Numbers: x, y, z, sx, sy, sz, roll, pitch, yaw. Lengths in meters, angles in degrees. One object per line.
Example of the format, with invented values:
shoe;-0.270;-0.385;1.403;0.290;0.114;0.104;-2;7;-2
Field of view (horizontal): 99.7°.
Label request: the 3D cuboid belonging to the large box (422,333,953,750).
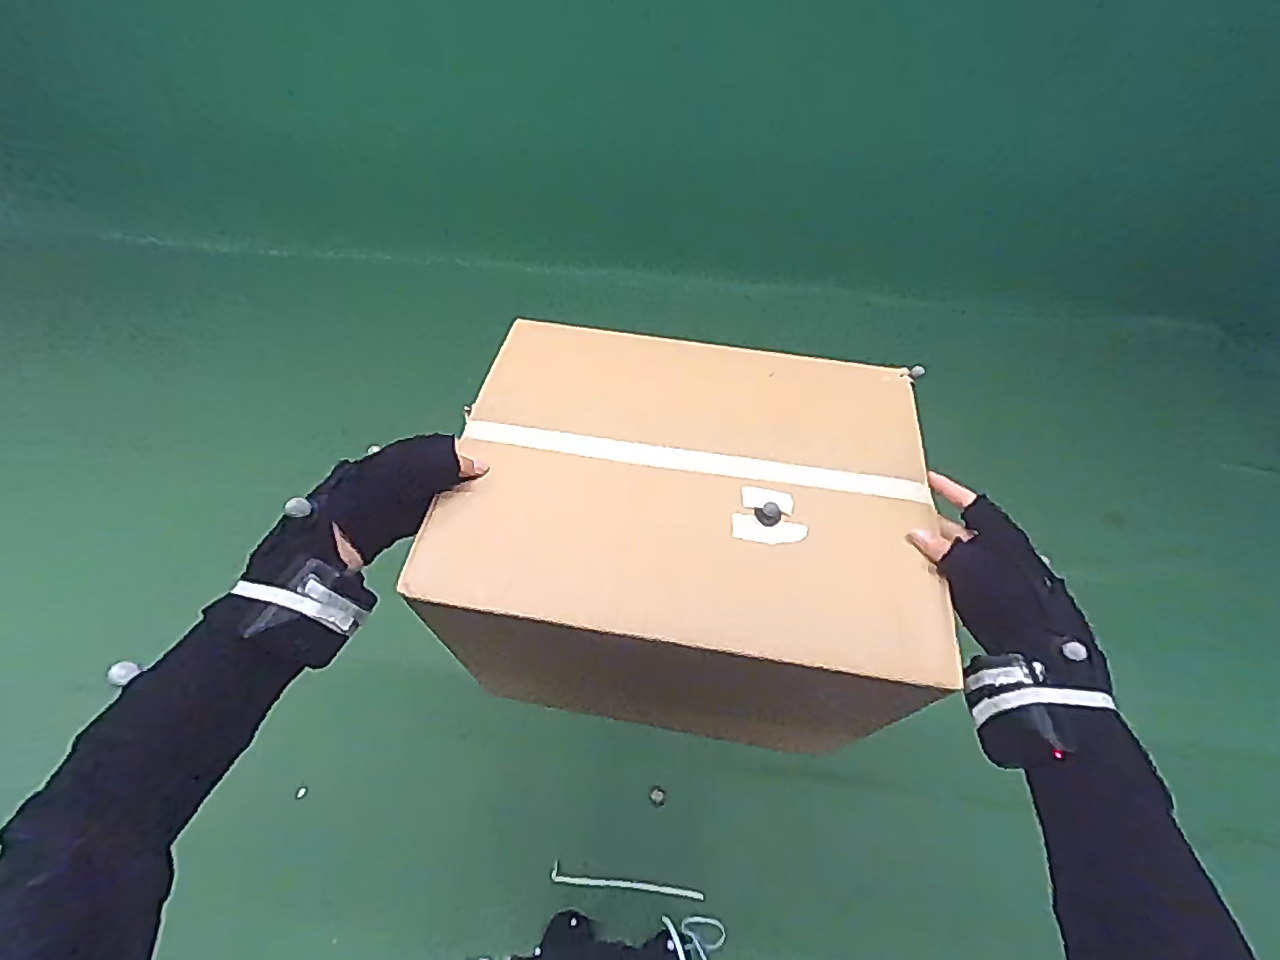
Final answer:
large box;0.044;0.078;0.601;0.408;0.320;0.320;9;55;4
